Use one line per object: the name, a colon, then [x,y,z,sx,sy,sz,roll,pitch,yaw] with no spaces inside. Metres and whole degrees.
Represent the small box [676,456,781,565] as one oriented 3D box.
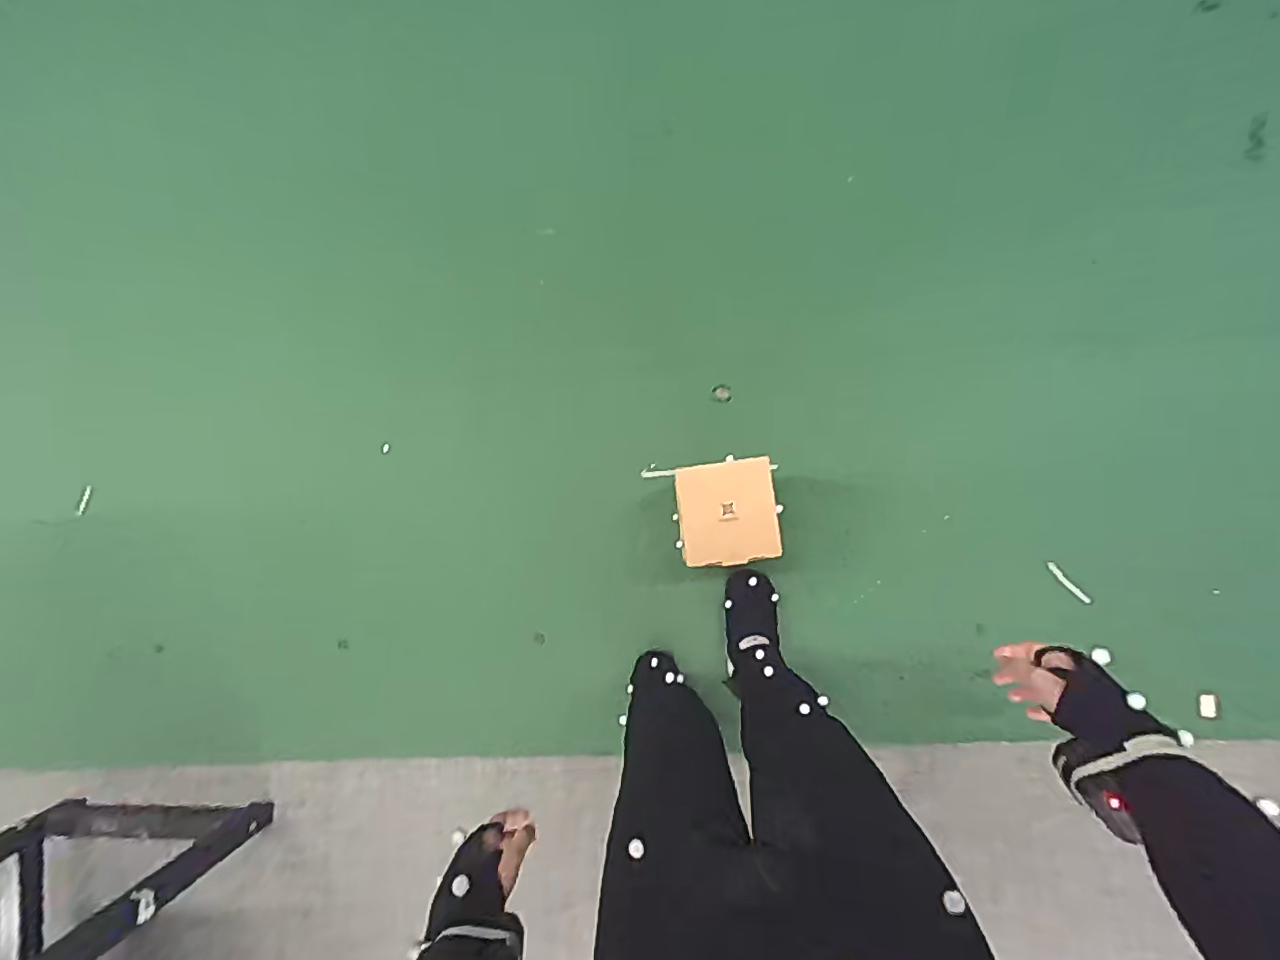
small box: [0.157,0.057,1.011,0.168,0.176,0.179,-7,88,5]
